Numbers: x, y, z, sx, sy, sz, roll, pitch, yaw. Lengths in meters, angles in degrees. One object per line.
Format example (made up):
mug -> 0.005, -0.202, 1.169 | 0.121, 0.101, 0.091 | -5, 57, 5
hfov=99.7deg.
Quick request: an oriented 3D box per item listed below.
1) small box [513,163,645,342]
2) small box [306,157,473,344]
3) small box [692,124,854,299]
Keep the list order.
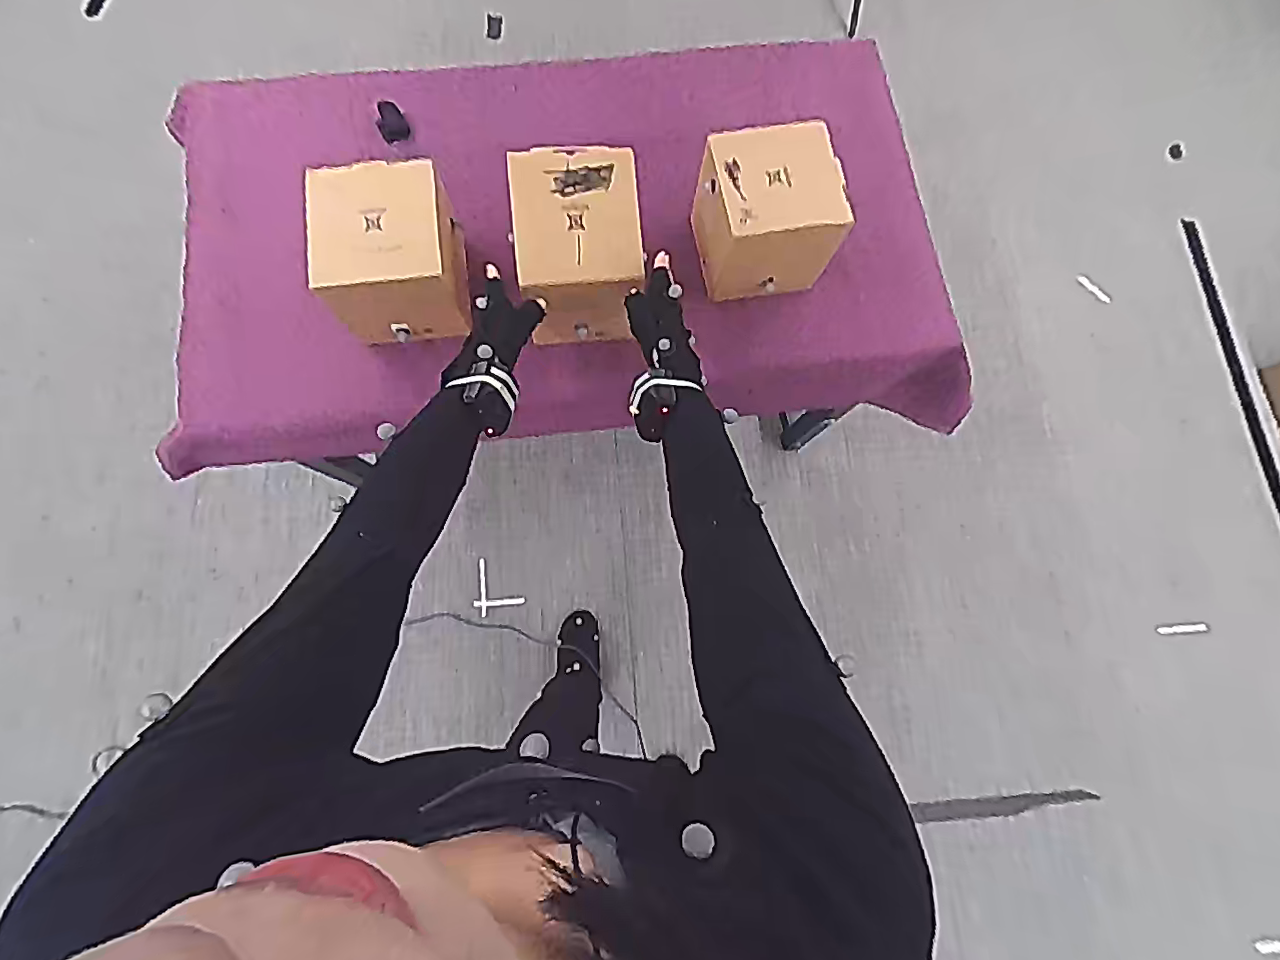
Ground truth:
small box -> -0.087, -0.321, 0.784 | 0.168, 0.176, 0.179 | -5, 77, -4
small box -> -0.345, -0.317, 0.768 | 0.168, 0.176, 0.179 | -8, 79, -5
small box -> 0.189, -0.398, 0.821 | 0.179, 0.176, 0.168 | -9, 78, -6
